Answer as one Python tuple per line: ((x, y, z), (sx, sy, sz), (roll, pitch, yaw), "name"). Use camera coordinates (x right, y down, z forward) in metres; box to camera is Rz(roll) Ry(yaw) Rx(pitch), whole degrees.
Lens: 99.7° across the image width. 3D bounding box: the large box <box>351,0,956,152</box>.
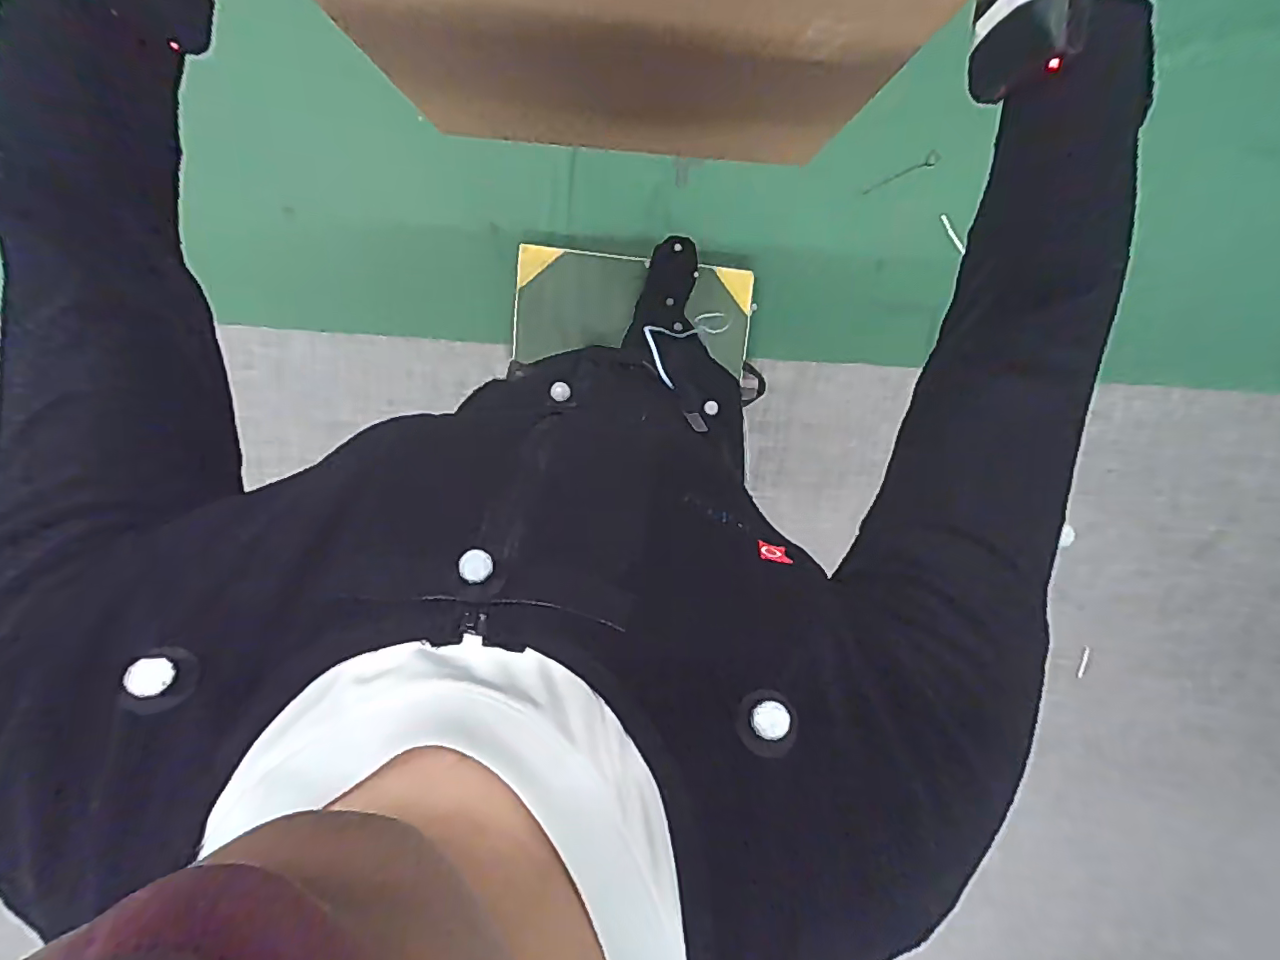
((0.004, -0.477, 0.409), (0.408, 0.320, 0.320), (3, 105, -2), "large box")
